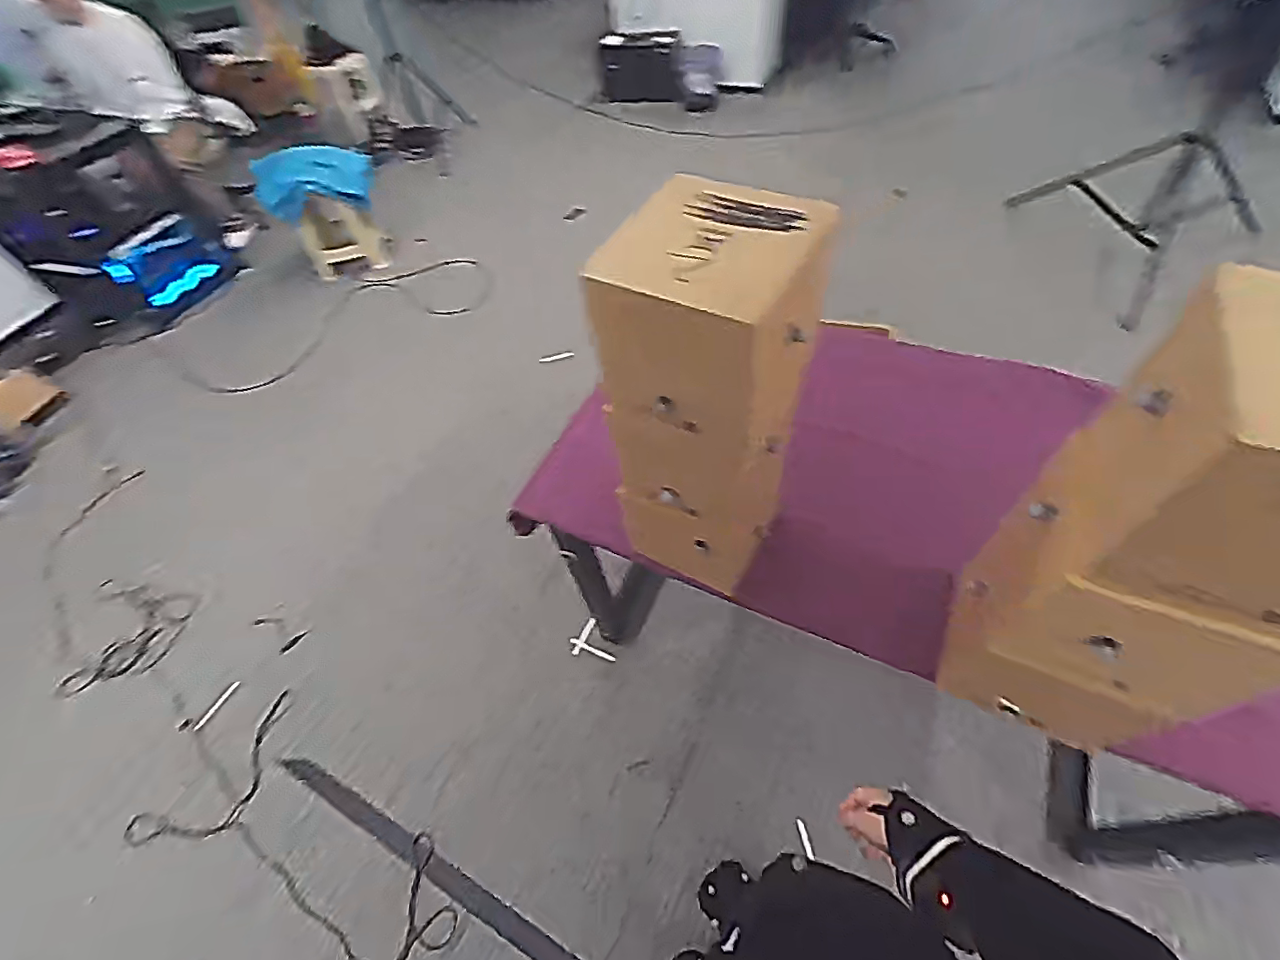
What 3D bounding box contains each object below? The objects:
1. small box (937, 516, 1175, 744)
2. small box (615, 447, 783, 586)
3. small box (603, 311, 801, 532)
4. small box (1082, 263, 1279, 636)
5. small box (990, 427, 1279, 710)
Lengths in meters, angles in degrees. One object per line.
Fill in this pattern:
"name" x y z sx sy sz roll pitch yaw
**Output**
"small box" 0.471 0.177 0.633 0.168 0.176 0.179 18 60 21
"small box" 0.089 0.032 0.788 0.179 0.176 0.168 22 60 22
"small box" 0.077 -0.069 0.659 0.168 0.176 0.179 22 61 21
"small box" 0.441 -0.016 0.370 0.168 0.176 0.179 18 58 21
"small box" 0.450 0.085 0.500 0.168 0.176 0.179 18 58 21
